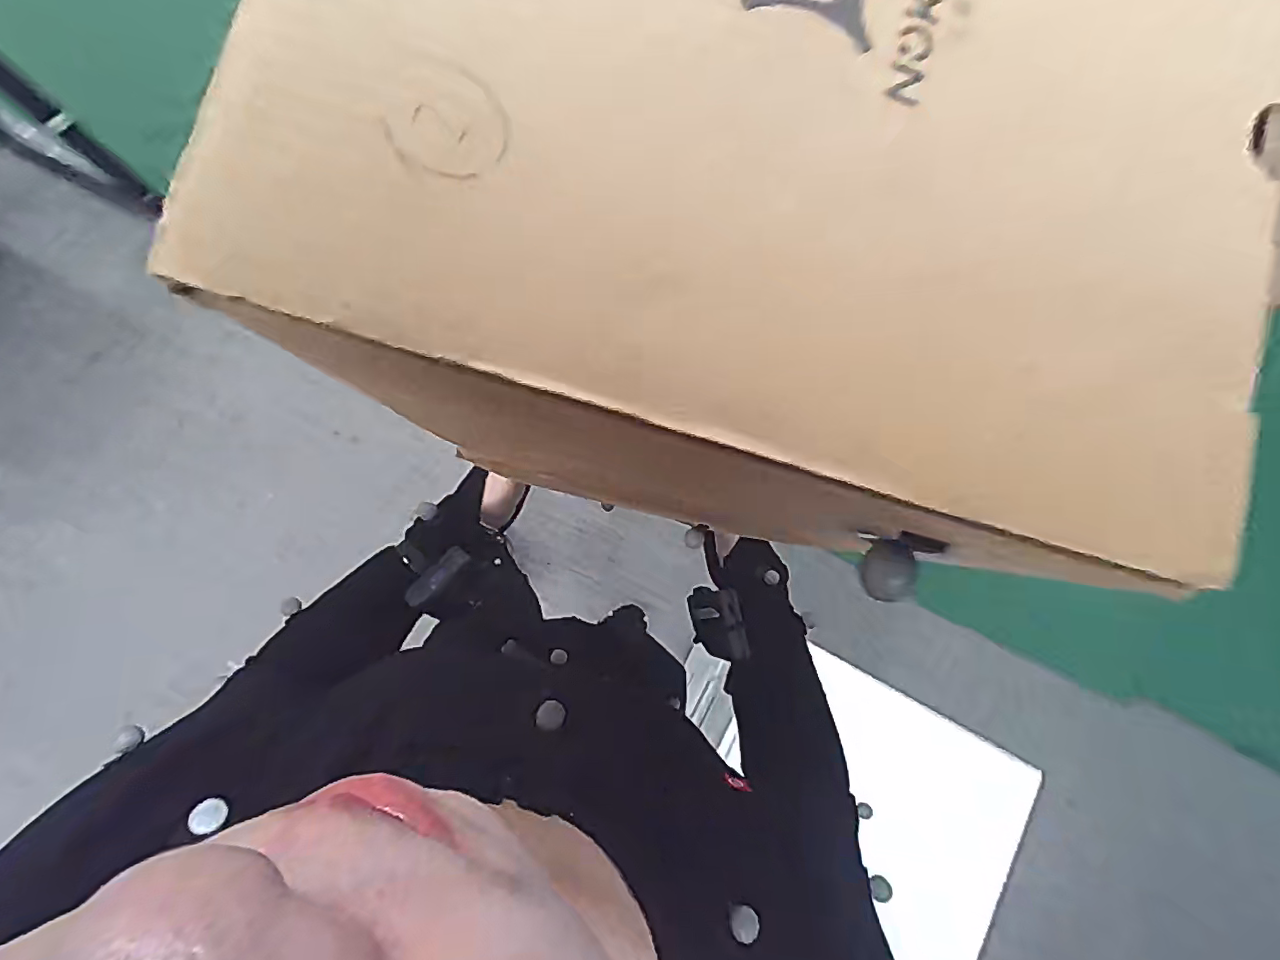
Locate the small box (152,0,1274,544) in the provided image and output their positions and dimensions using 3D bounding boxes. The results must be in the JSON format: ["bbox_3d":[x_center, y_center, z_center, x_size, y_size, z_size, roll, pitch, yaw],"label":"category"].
[{"bbox_3d":[0.023,-0.081,0.173,0.179,0.176,0.168,15,85,-5],"label":"small box"}]

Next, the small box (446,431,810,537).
[{"bbox_3d":[0.006,-0.066,0.335,0.179,0.176,0.168,13,85,-4],"label":"small box"}]
